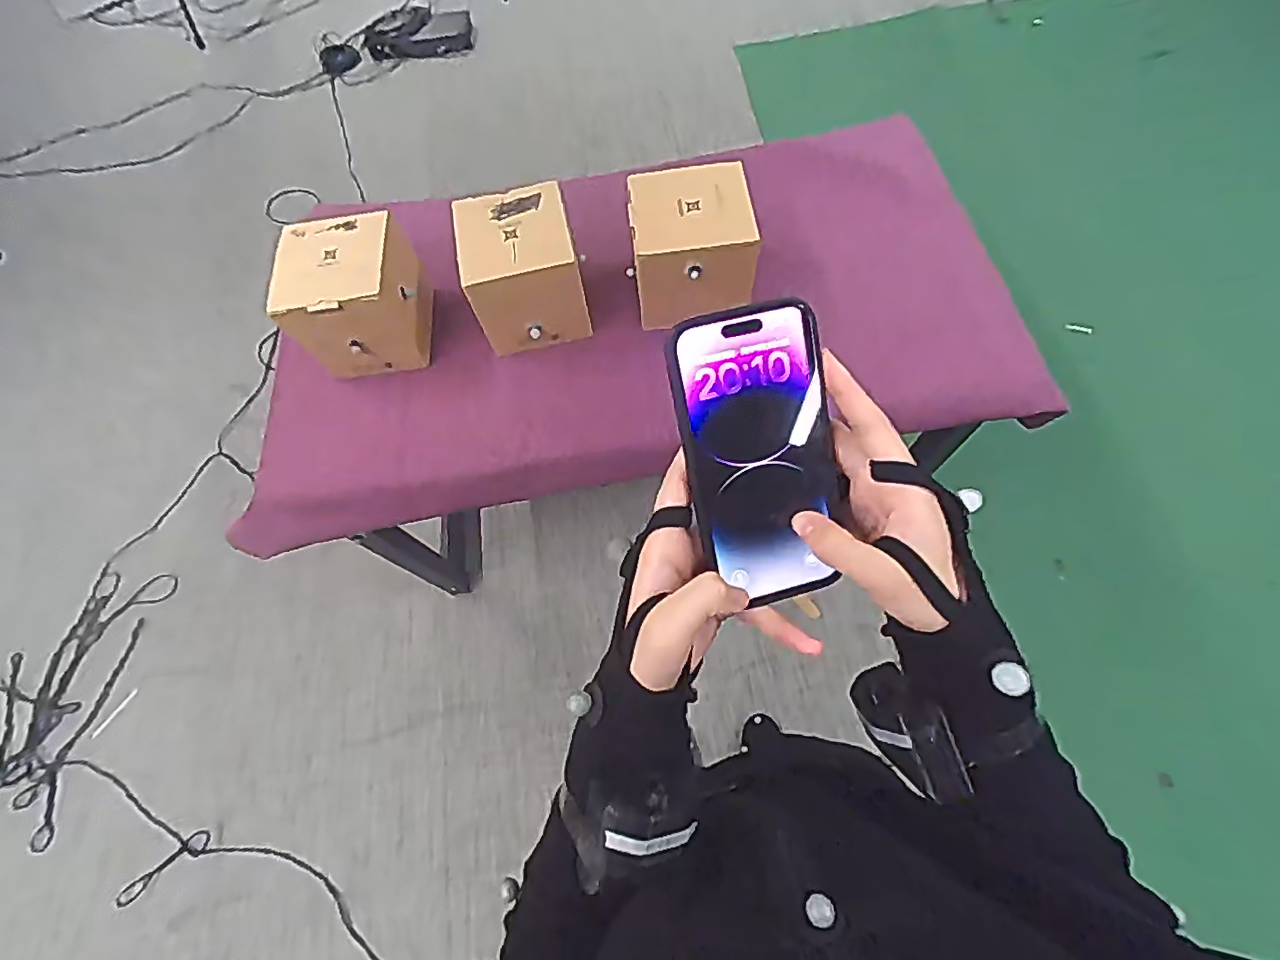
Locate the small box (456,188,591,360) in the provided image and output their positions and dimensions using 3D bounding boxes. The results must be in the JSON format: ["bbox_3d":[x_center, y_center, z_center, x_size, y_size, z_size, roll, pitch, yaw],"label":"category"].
[{"bbox_3d":[-0.181,-0.323,0.866,0.168,0.176,0.179,-13,66,-1],"label":"small box"}]

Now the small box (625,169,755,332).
[{"bbox_3d":[0.076,-0.355,0.859,0.179,0.176,0.168,-6,66,2],"label":"small box"}]

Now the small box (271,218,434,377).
[{"bbox_3d":[-0.446,-0.281,0.869,0.168,0.176,0.179,-8,66,1],"label":"small box"}]
